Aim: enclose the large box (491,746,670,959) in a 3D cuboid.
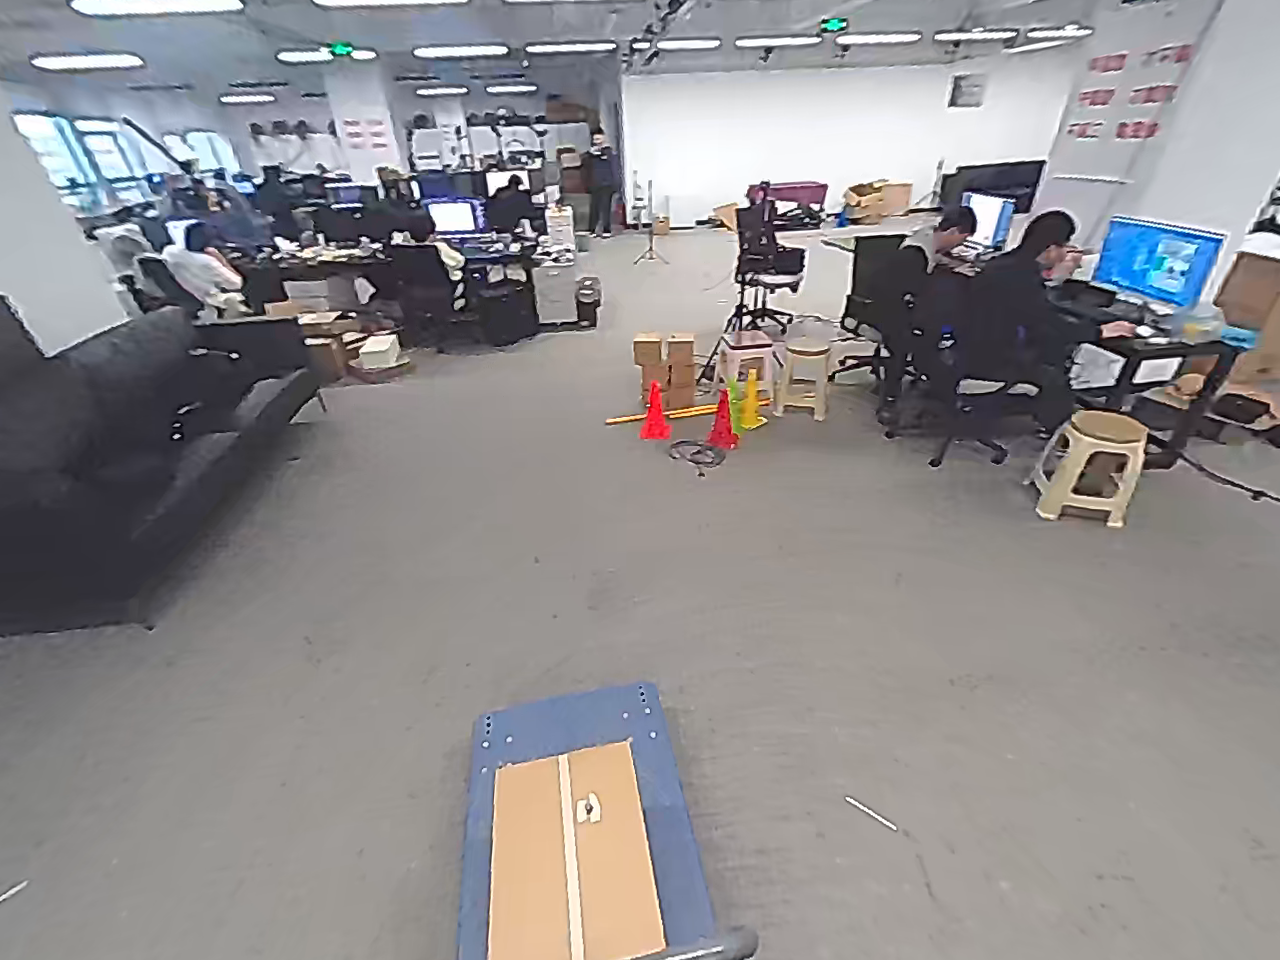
[{"bbox_3d":[-0.126,0.872,1.155,0.320,0.320,0.408,-8,32,-8],"label":"large box"}]
